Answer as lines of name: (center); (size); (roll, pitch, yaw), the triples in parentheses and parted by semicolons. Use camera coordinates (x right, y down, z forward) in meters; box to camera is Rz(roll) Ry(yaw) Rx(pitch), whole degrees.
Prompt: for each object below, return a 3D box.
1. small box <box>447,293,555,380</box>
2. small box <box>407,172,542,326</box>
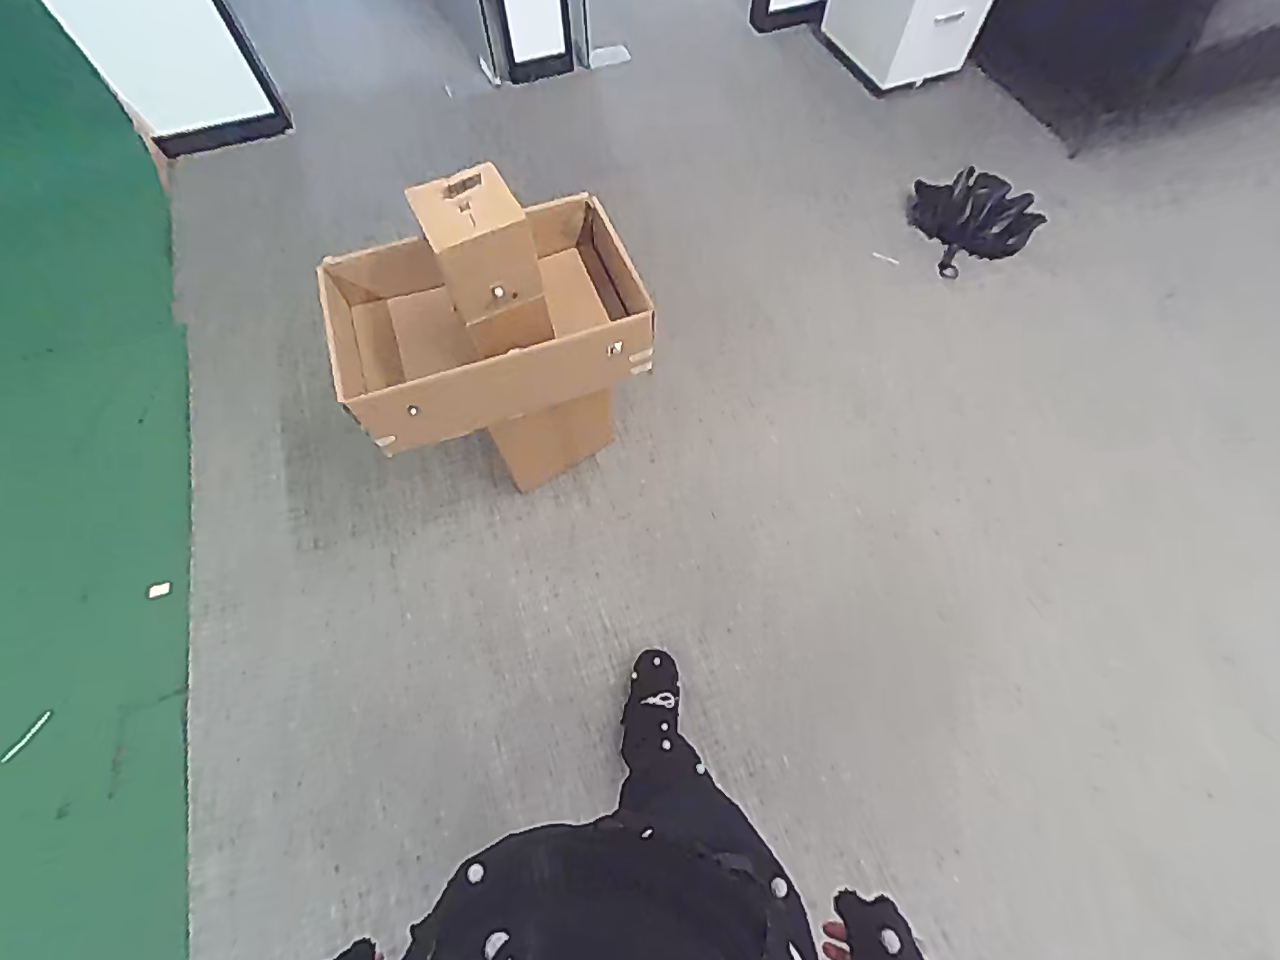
small box: (-0.297, -0.347, 1.150); (0.168, 0.176, 0.179); (-26, 66, -11)
small box: (-0.300, -0.424, 1.005); (0.168, 0.176, 0.179); (-26, 66, -10)
